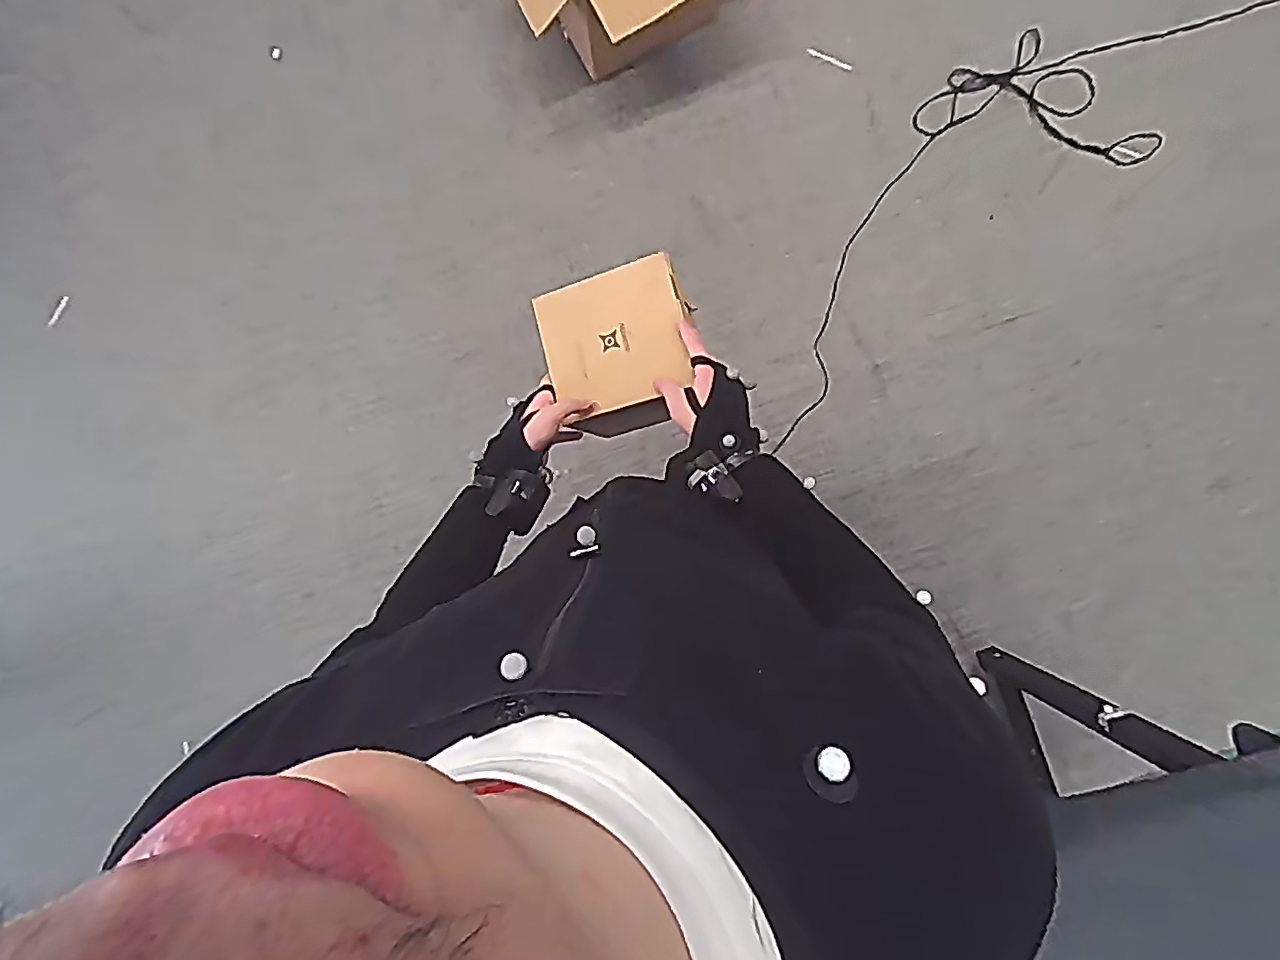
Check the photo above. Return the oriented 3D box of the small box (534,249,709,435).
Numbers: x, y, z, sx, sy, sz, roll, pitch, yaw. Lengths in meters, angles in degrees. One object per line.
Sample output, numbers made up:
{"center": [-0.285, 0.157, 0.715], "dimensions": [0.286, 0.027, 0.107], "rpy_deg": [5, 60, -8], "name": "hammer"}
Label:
{"center": [-0.012, -0.163, 0.703], "dimensions": [0.179, 0.176, 0.168], "rpy_deg": [-13, 83, 15], "name": "small box"}
